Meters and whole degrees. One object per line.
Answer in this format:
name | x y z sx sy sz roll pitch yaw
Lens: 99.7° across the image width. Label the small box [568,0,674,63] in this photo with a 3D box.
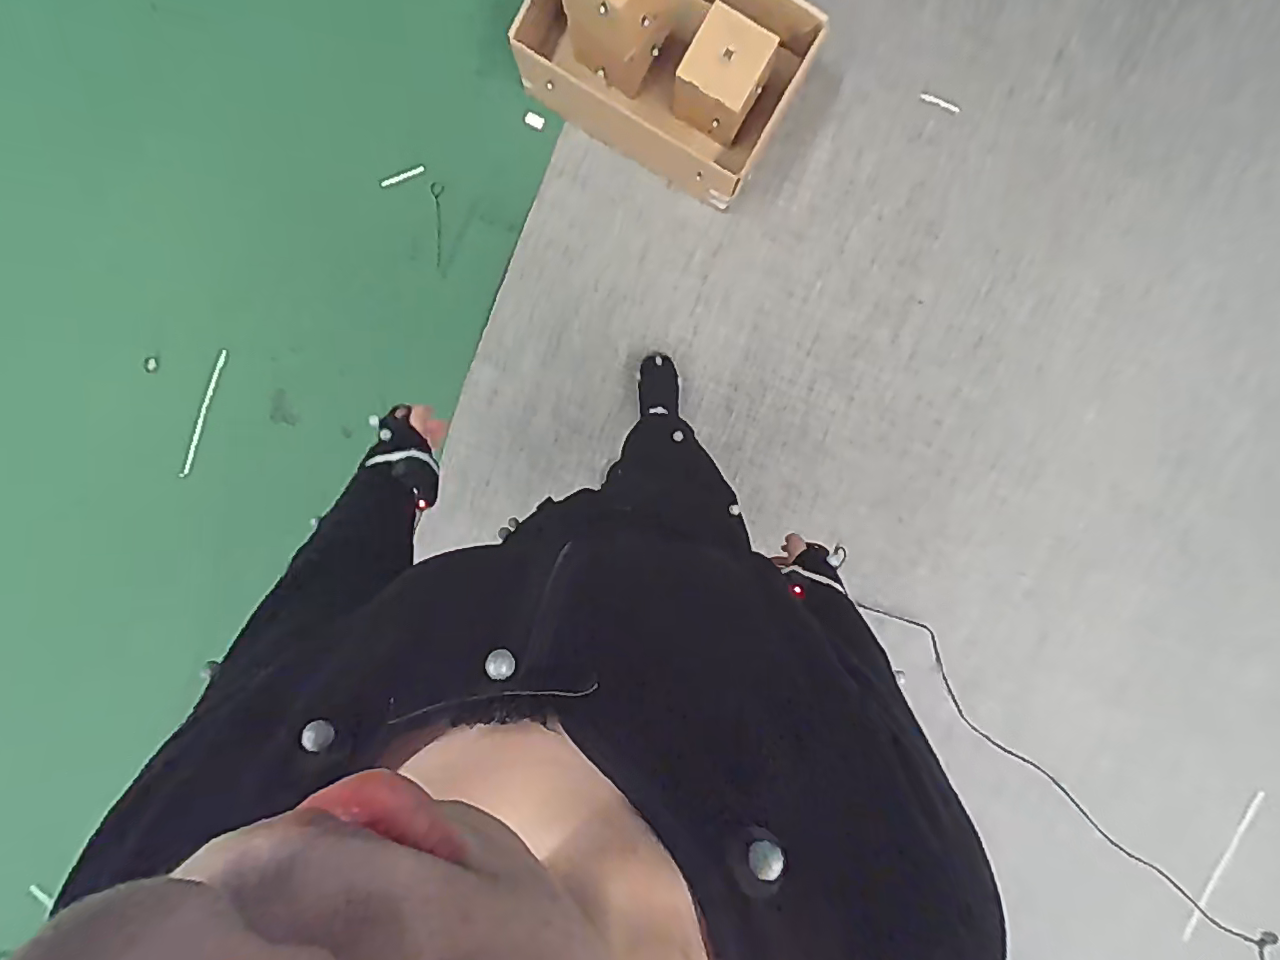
small box | -0.041 -1.011 1.097 0.179 0.176 0.168 40 95 -4
